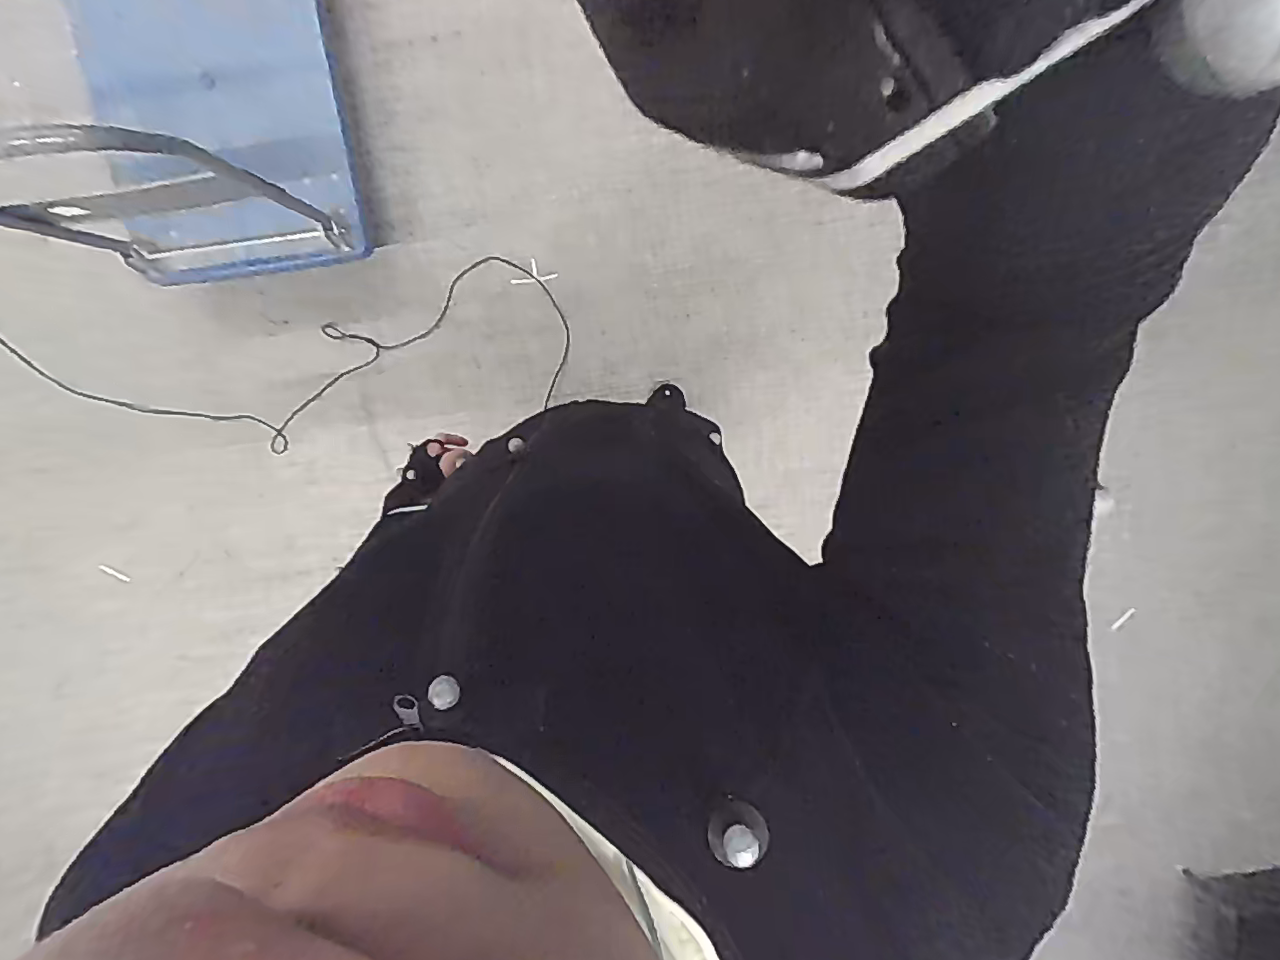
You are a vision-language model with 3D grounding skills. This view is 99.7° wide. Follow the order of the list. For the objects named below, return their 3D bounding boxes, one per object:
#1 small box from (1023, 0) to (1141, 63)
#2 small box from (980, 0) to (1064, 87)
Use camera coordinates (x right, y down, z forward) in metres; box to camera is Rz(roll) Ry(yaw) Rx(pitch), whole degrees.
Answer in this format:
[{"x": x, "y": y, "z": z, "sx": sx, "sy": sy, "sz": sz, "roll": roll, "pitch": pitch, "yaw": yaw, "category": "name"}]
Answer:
[{"x": 1.043, "y": -1.133, "z": 1.250, "sx": 0.168, "sy": 0.176, "sz": 0.179, "roll": 29, "pitch": 96, "yaw": -4, "category": "small box"}, {"x": 1.019, "y": -1.153, "z": 1.402, "sx": 0.179, "sy": 0.176, "sz": 0.168, "roll": -3, "pitch": 99, "yaw": -3, "category": "small box"}]
